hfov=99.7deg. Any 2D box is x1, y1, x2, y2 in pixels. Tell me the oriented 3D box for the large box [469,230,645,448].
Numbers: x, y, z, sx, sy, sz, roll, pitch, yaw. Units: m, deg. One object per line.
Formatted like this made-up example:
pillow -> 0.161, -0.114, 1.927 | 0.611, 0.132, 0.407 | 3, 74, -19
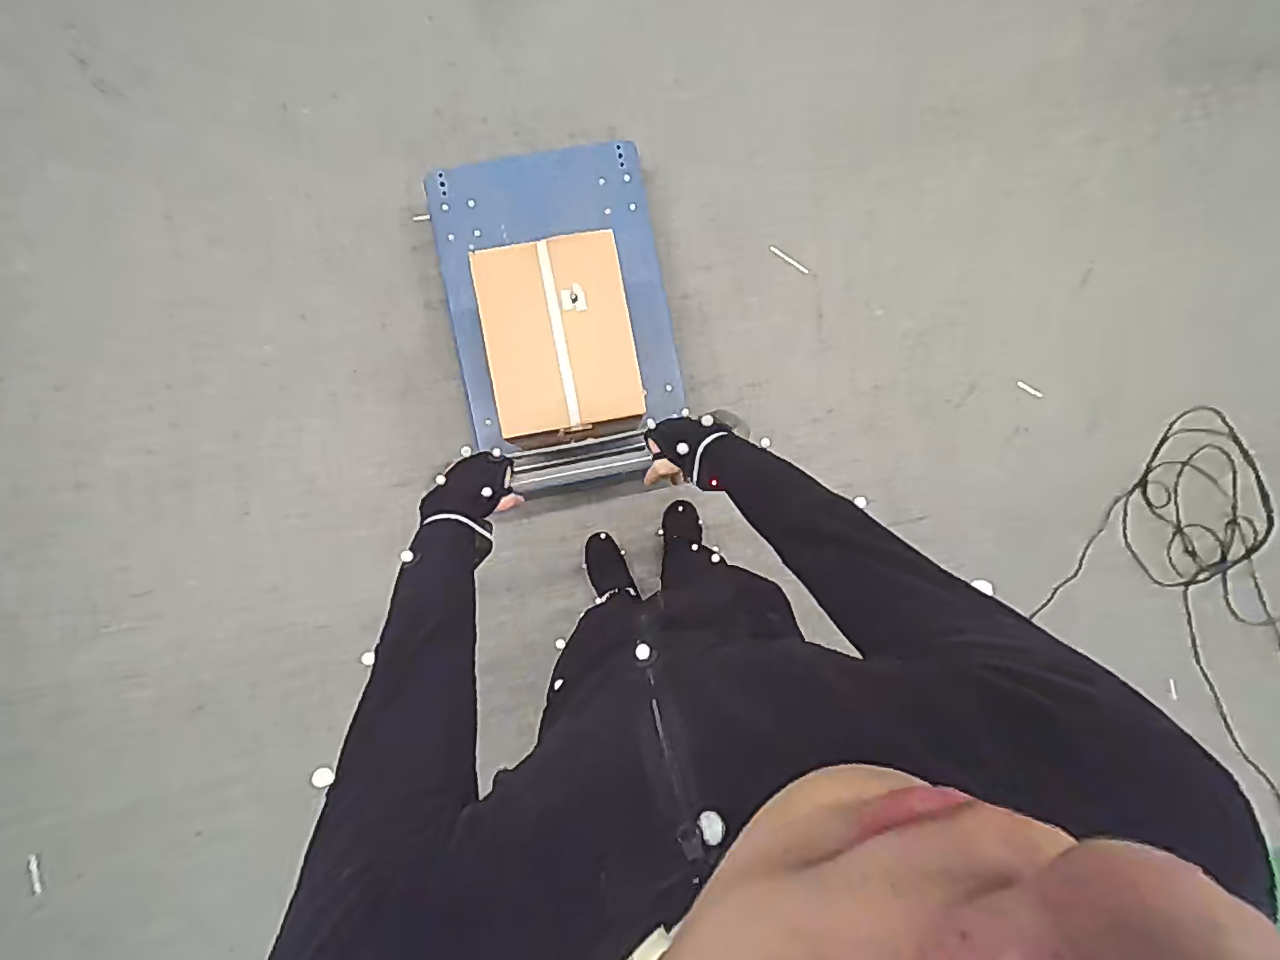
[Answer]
large box -> -0.184, -0.312, 1.302 | 0.320, 0.320, 0.408 | -11, 89, -4
